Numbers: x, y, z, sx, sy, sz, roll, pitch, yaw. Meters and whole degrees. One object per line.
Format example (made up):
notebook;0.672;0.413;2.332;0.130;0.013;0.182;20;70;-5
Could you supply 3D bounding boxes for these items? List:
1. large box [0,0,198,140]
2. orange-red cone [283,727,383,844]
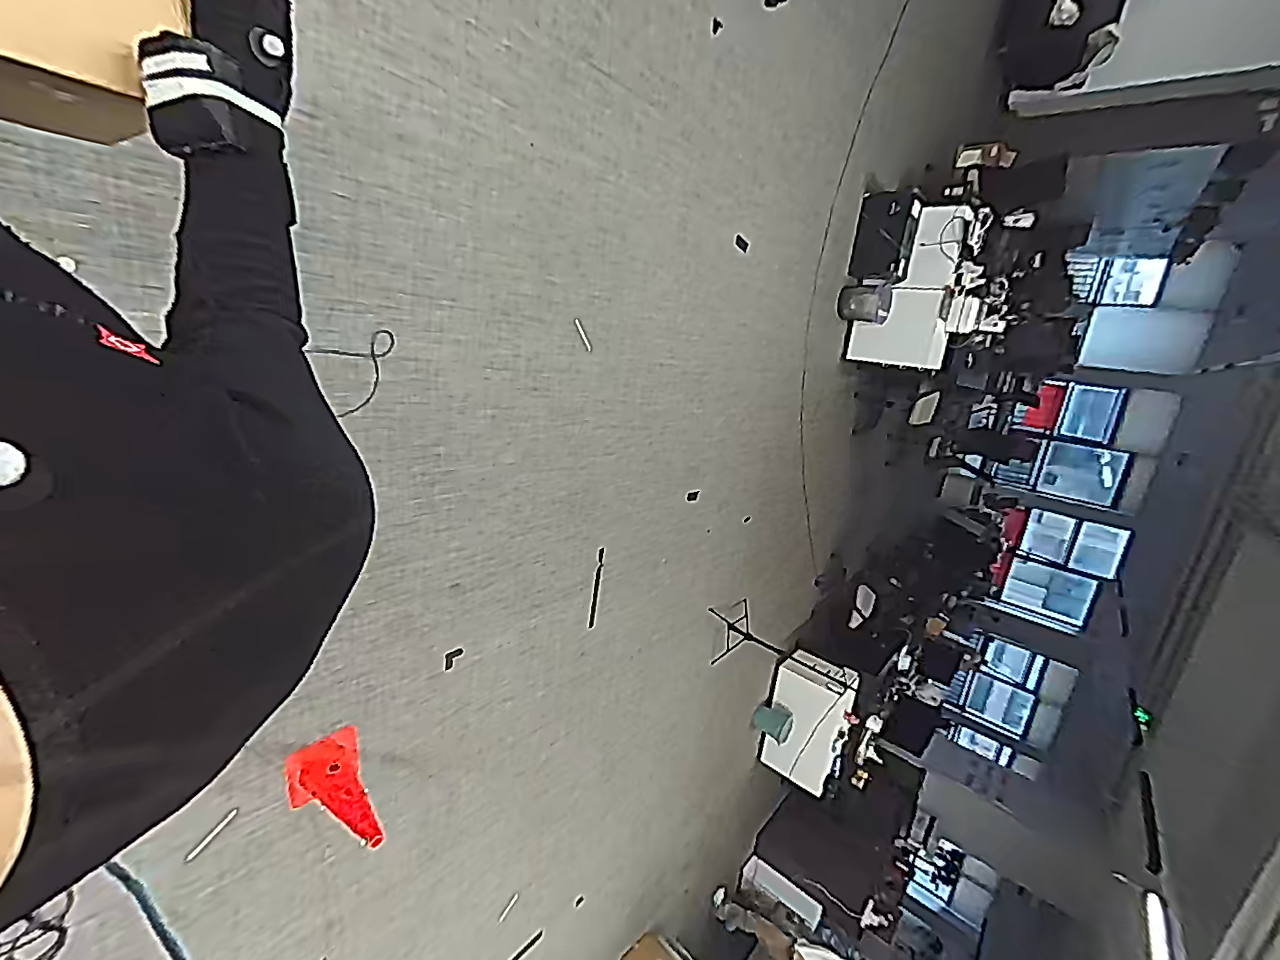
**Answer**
large box;-0.551;-0.432;0.294;0.408;0.320;0.320;-13;117;-51
orange-red cone;-0.844;0.917;1.552;0.198;0.360;0.199;-14;115;-49
